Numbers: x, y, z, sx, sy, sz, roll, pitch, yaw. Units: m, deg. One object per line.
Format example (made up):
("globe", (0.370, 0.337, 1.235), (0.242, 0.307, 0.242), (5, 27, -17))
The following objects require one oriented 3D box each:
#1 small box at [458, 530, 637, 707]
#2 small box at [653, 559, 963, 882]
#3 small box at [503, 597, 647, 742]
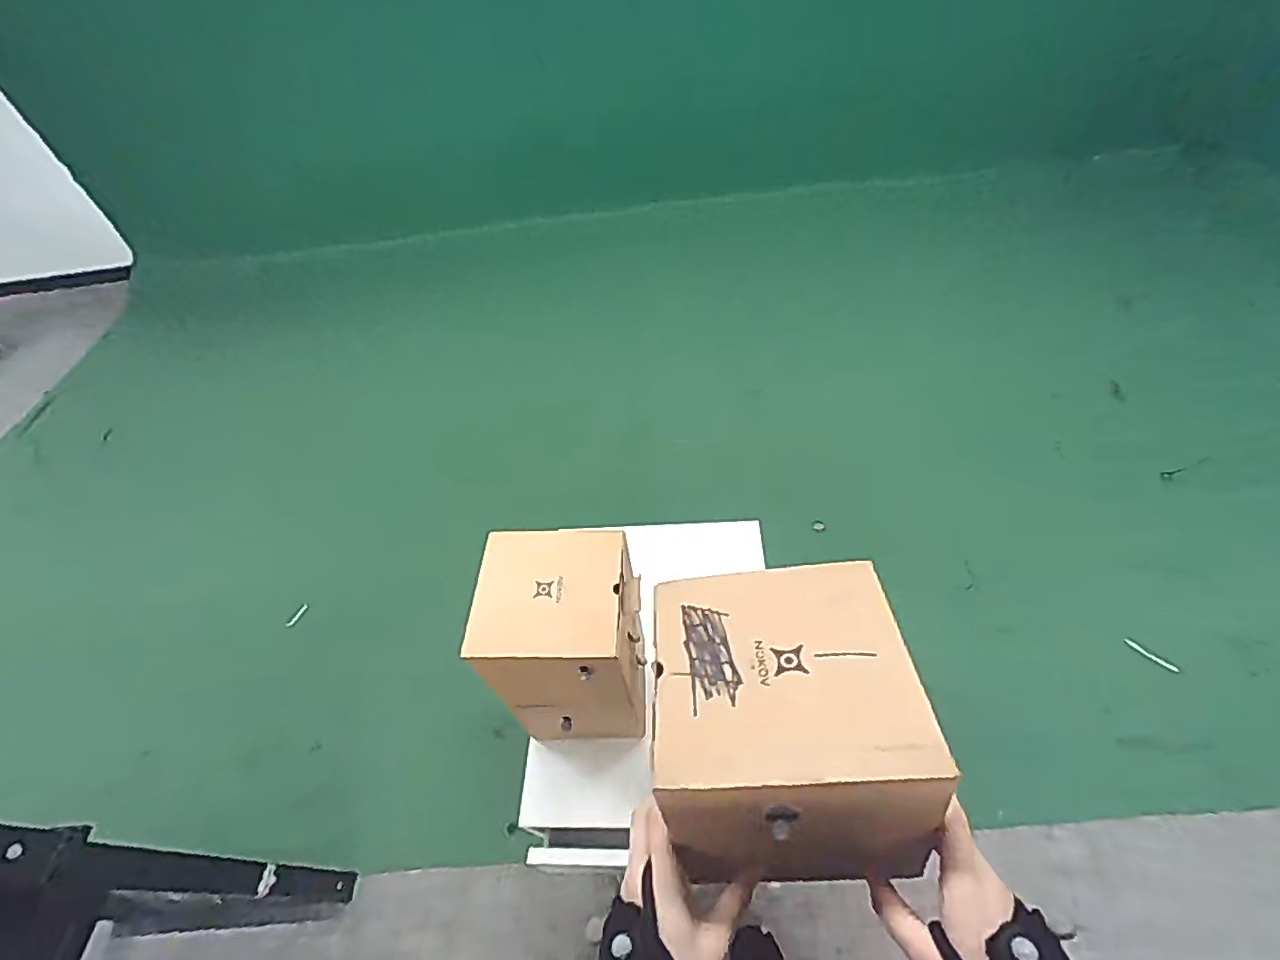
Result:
("small box", (-0.101, 0.178, 0.681), (0.179, 0.176, 0.168), (-2, 50, 4))
("small box", (0.111, 0.184, 0.414), (0.179, 0.176, 0.168), (-7, 37, 8))
("small box", (-0.085, 0.283, 0.806), (0.179, 0.176, 0.168), (-4, 51, 4))
